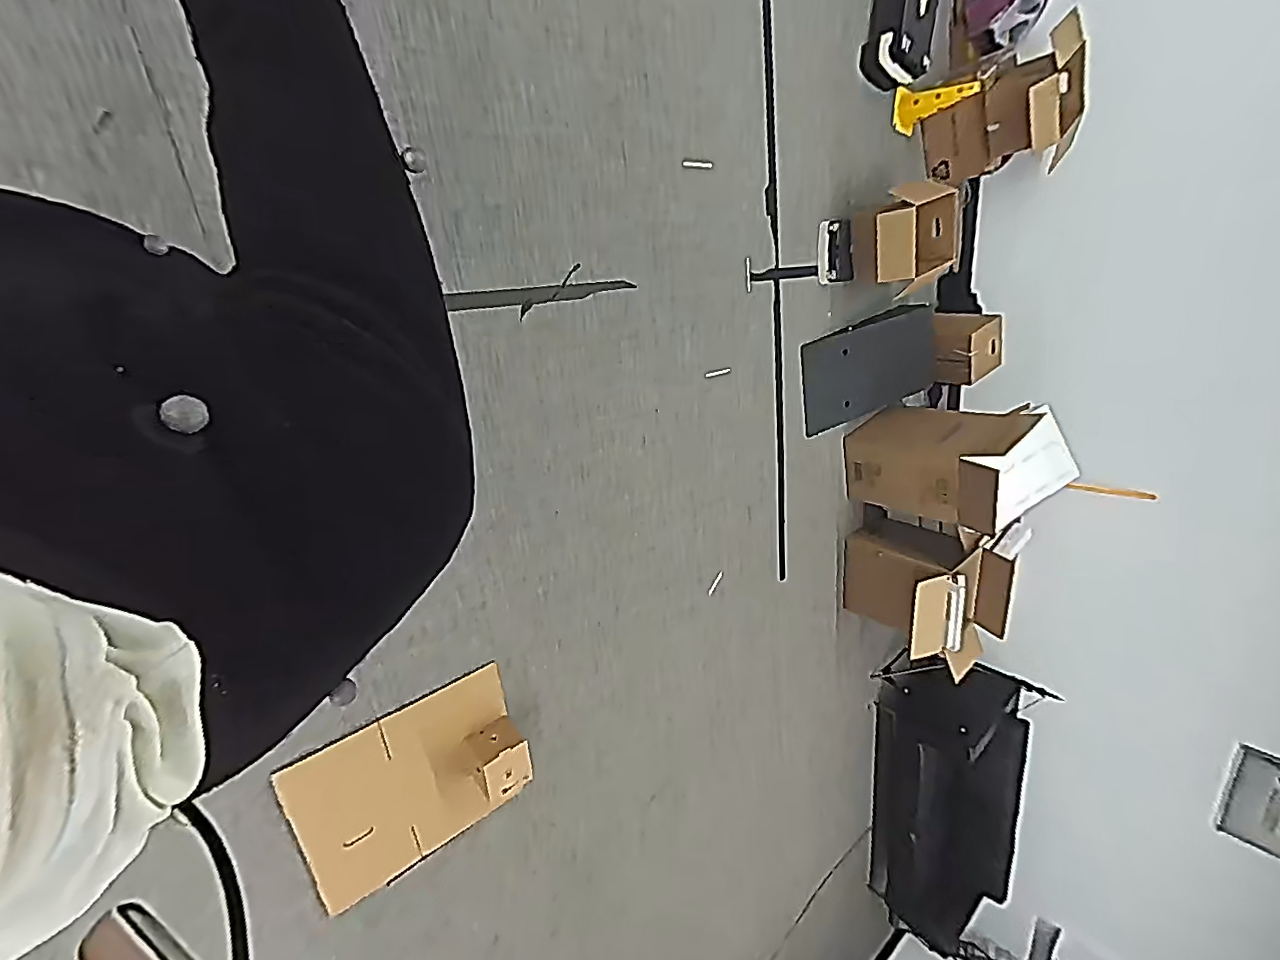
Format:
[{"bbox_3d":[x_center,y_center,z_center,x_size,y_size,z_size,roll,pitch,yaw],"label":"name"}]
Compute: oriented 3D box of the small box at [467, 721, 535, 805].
[{"bbox_3d":[-0.495,0.984,1.907,0.168,0.176,0.179,-18,112,-36],"label":"small box"}]
